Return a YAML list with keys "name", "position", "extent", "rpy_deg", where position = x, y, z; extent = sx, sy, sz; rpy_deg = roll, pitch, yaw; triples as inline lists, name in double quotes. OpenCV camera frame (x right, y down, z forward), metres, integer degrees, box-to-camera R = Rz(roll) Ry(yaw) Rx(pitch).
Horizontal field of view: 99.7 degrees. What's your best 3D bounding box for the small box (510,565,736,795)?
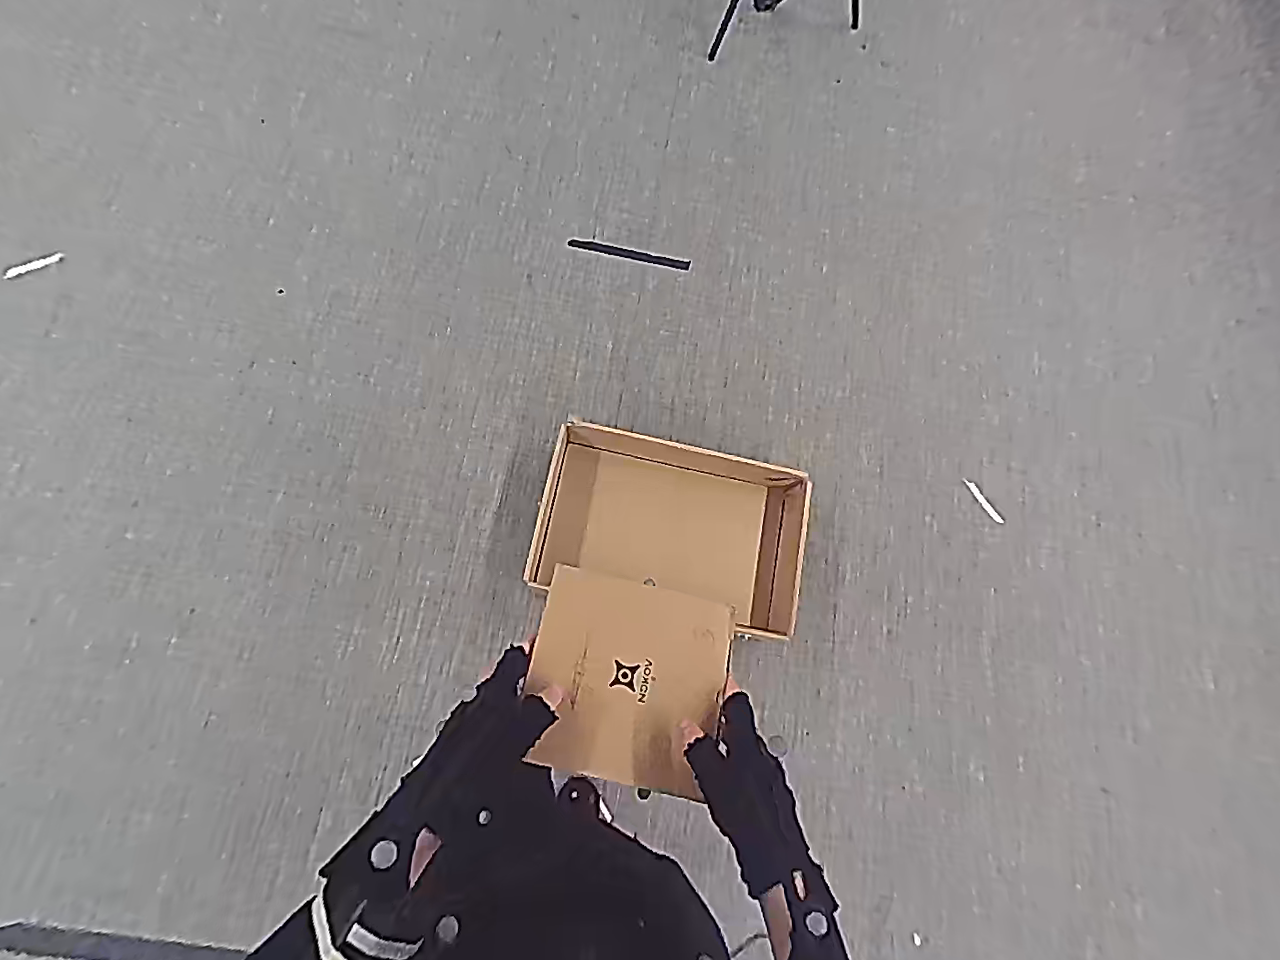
- name: "small box"
  position: [-0.017, 0.201, 0.549]
  extent: [0.179, 0.176, 0.168]
  rpy_deg: [12, 66, -2]
